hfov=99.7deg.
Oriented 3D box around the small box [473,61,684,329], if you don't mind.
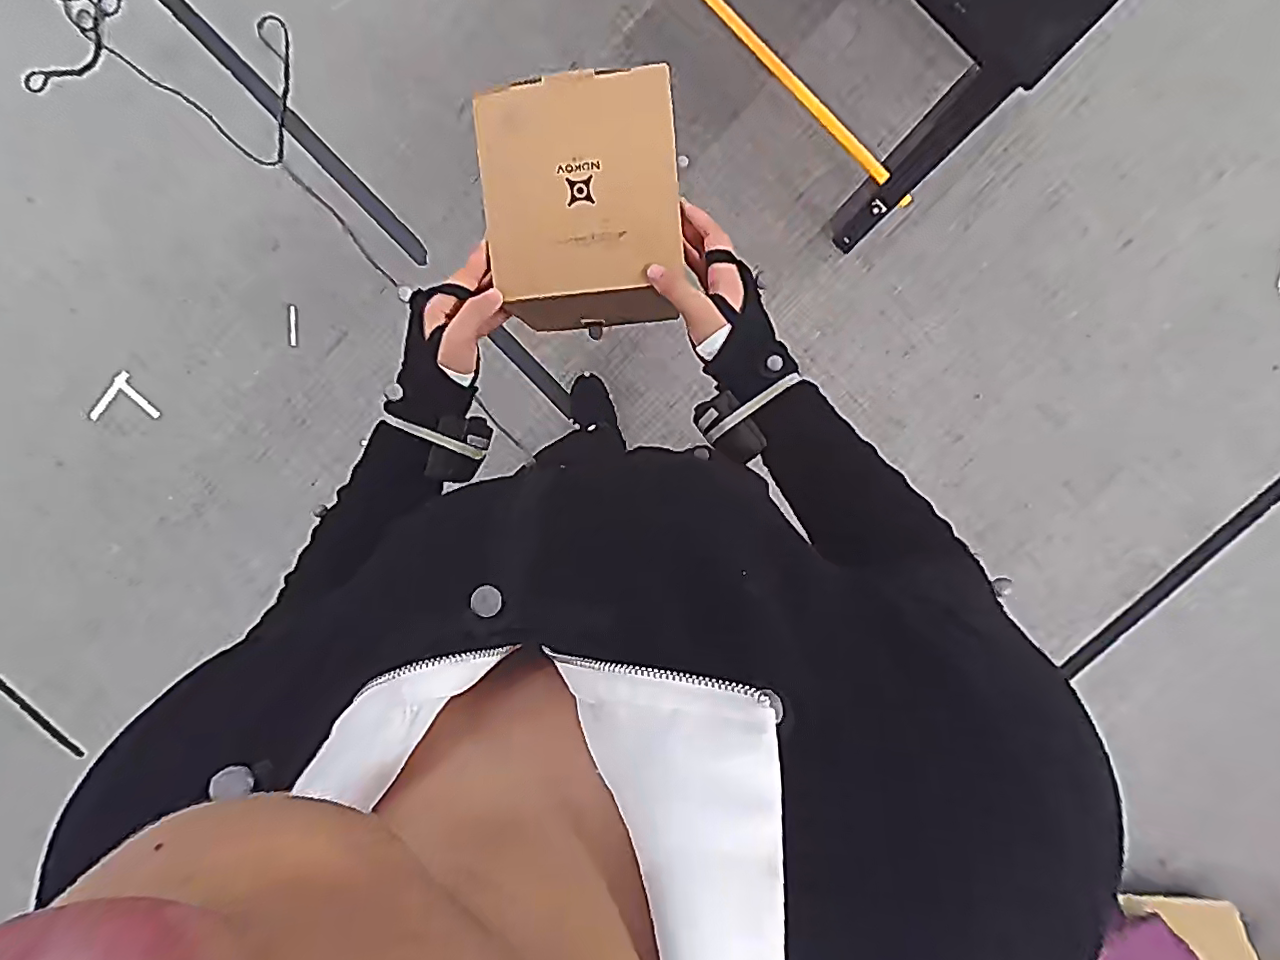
[{"bbox_3d":[-0.048,-0.256,0.527,0.168,0.176,0.179,-4,96,3],"label":"small box"}]
